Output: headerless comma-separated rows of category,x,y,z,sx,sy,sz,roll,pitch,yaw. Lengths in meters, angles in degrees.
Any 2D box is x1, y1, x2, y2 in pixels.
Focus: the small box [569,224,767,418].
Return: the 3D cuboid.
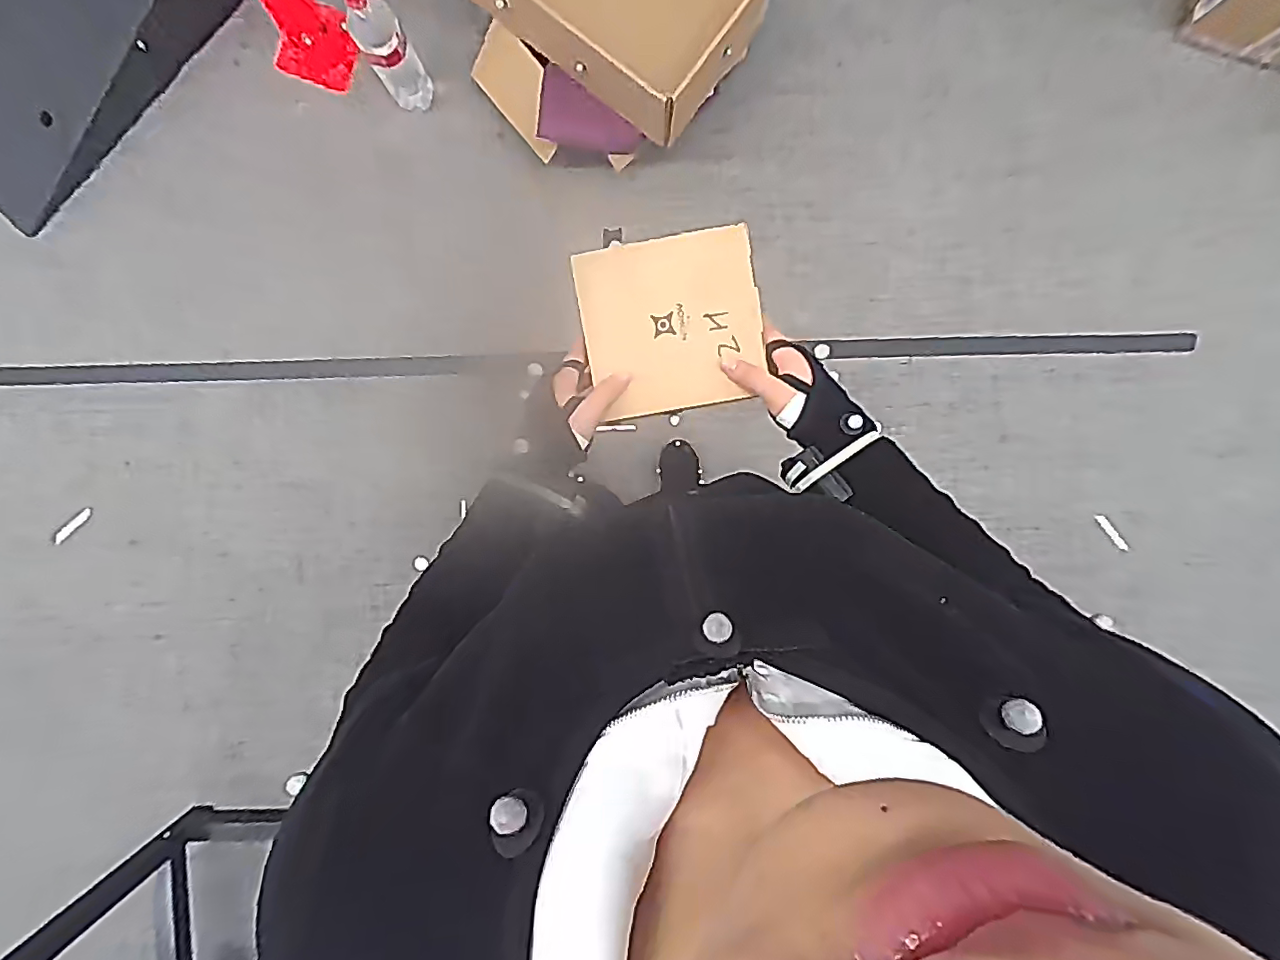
small box,0.030,-0.162,0.607,0.179,0.176,0.168,-10,97,1
